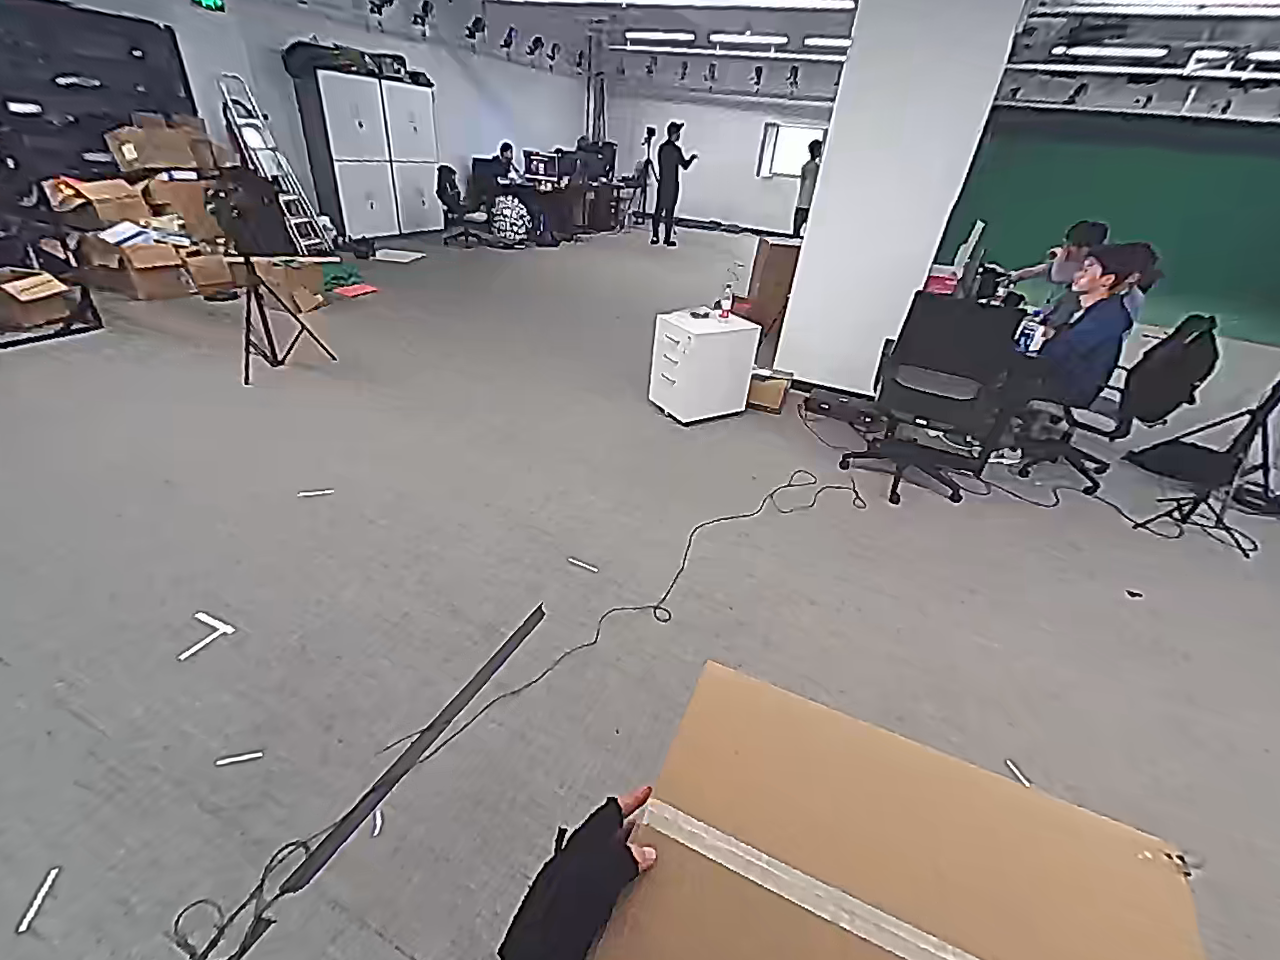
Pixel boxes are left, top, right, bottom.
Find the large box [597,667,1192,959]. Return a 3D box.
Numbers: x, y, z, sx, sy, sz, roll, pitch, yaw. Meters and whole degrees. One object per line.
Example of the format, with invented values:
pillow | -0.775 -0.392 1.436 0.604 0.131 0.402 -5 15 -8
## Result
large box | 0.194 0.453 0.510 0.408 0.320 0.320 17 45 19
